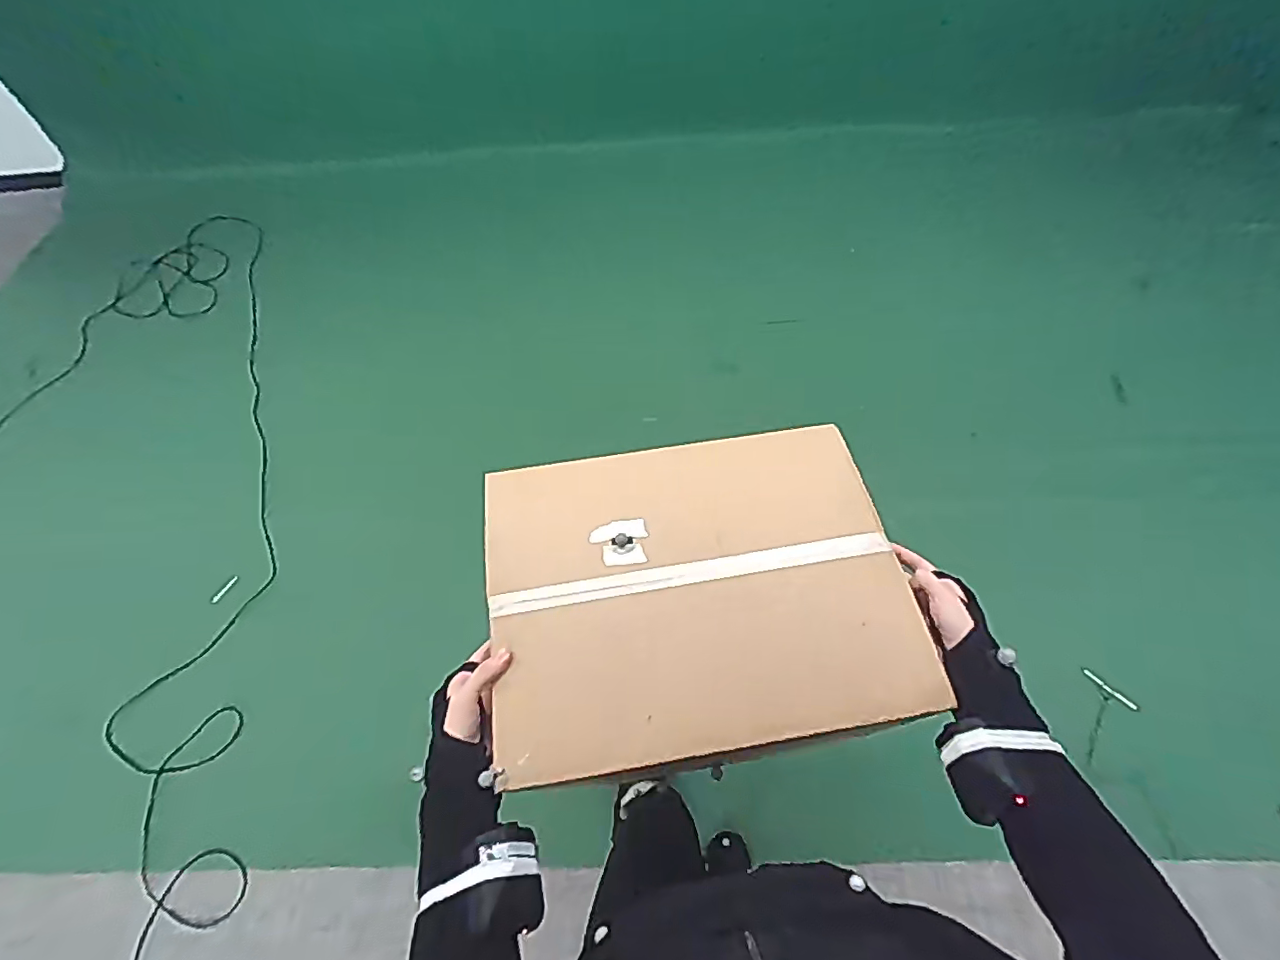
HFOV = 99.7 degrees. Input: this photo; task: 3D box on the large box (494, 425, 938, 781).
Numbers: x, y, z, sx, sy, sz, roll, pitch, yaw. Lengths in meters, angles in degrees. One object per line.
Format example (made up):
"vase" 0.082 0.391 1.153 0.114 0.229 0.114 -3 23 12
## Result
"large box" 0.061 0.170 0.682 0.408 0.320 0.320 -9 59 -3
